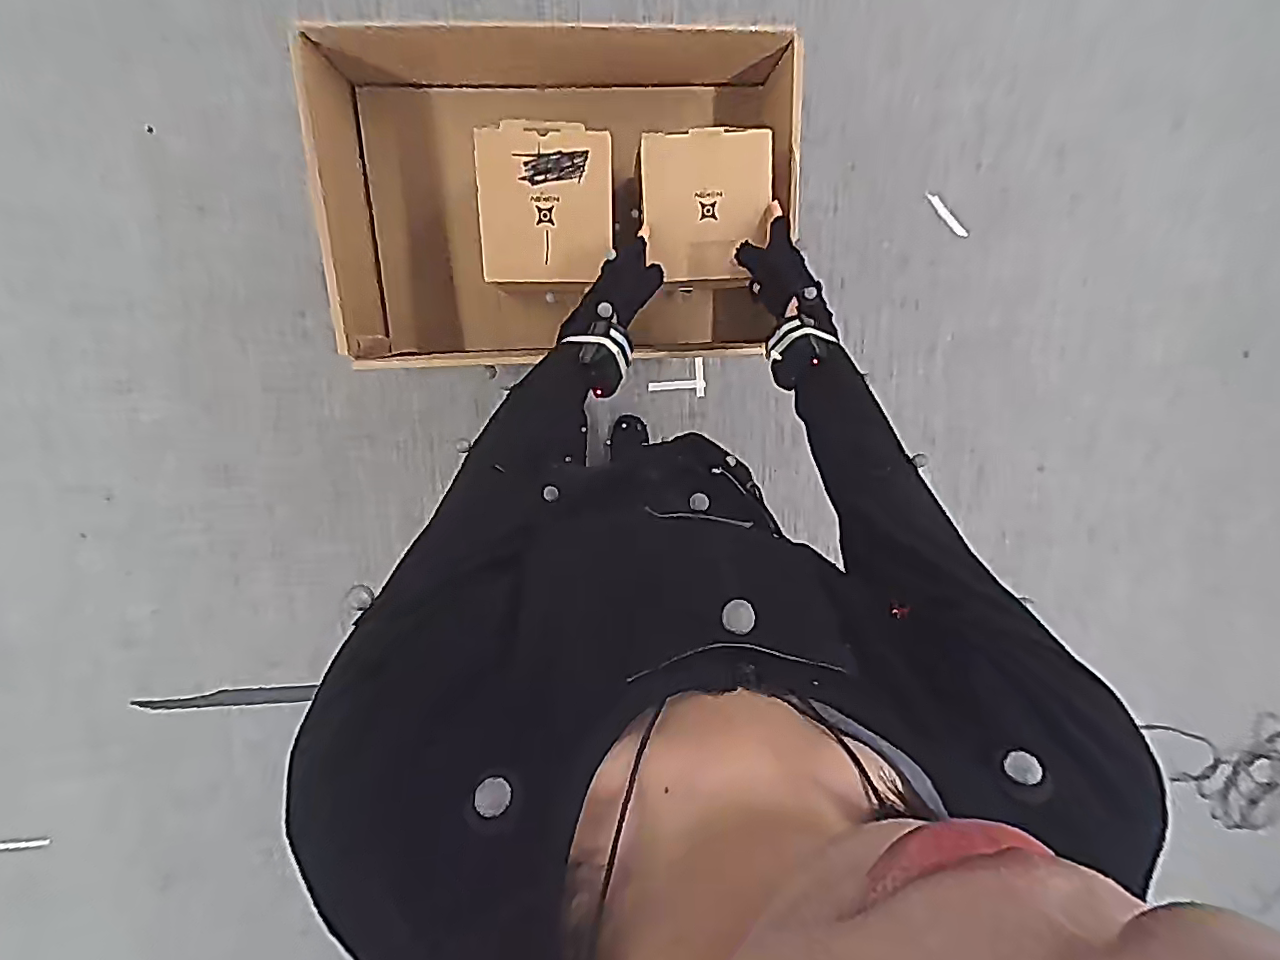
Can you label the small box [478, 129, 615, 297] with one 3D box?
[{"bbox_3d":[-0.120,-0.353,0.746,0.168,0.176,0.179,-2,105,-4],"label":"small box"}]
